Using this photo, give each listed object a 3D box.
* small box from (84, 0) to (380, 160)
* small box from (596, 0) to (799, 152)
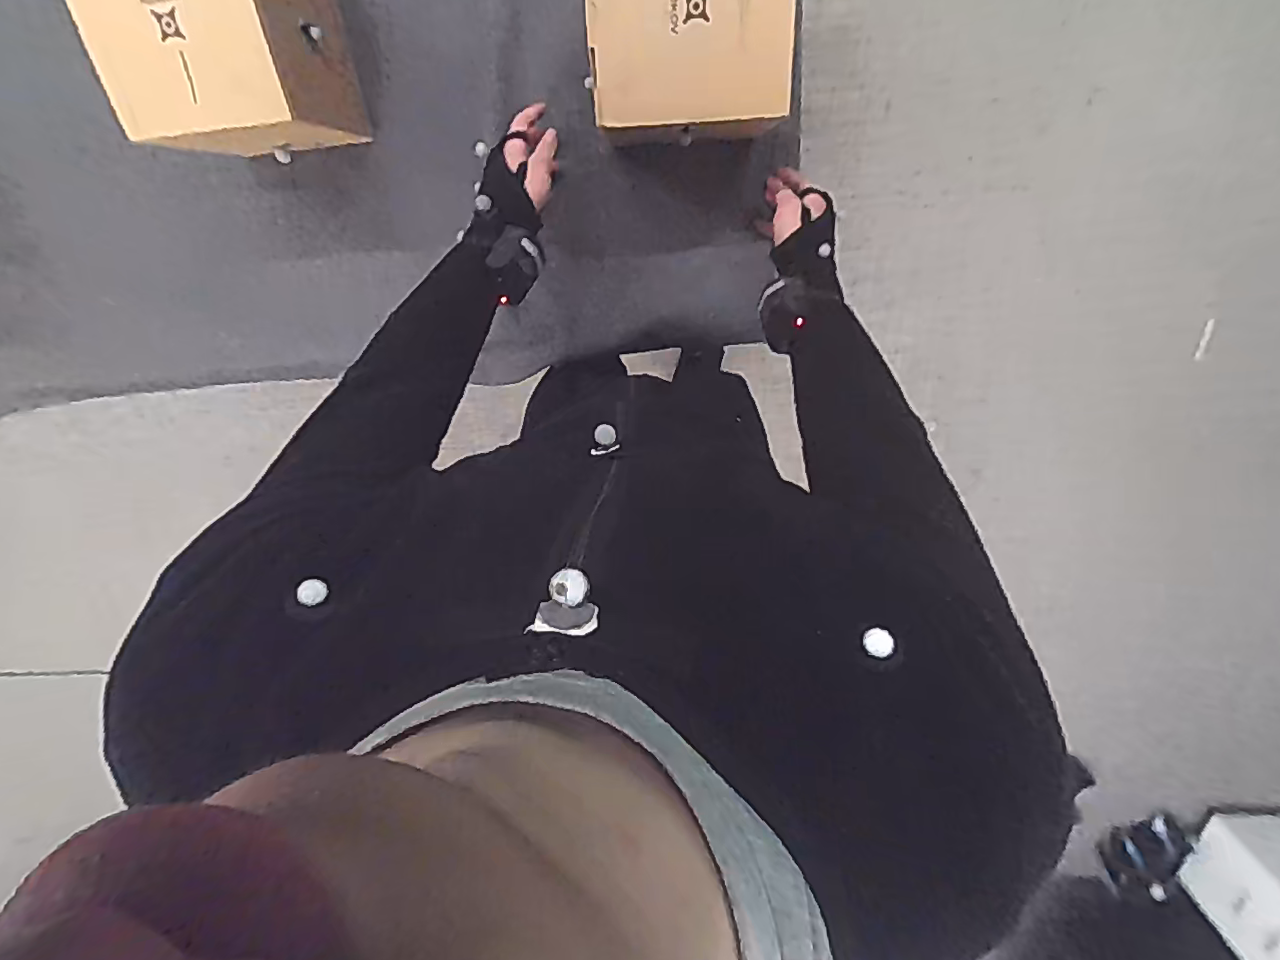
[{"bbox_3d":[-0.397,-0.437,0.545,0.168,0.176,0.179,-4,117,3],"label":"small box"},{"bbox_3d":[0.051,-0.433,0.539,0.179,0.176,0.168,-3,118,1],"label":"small box"}]
